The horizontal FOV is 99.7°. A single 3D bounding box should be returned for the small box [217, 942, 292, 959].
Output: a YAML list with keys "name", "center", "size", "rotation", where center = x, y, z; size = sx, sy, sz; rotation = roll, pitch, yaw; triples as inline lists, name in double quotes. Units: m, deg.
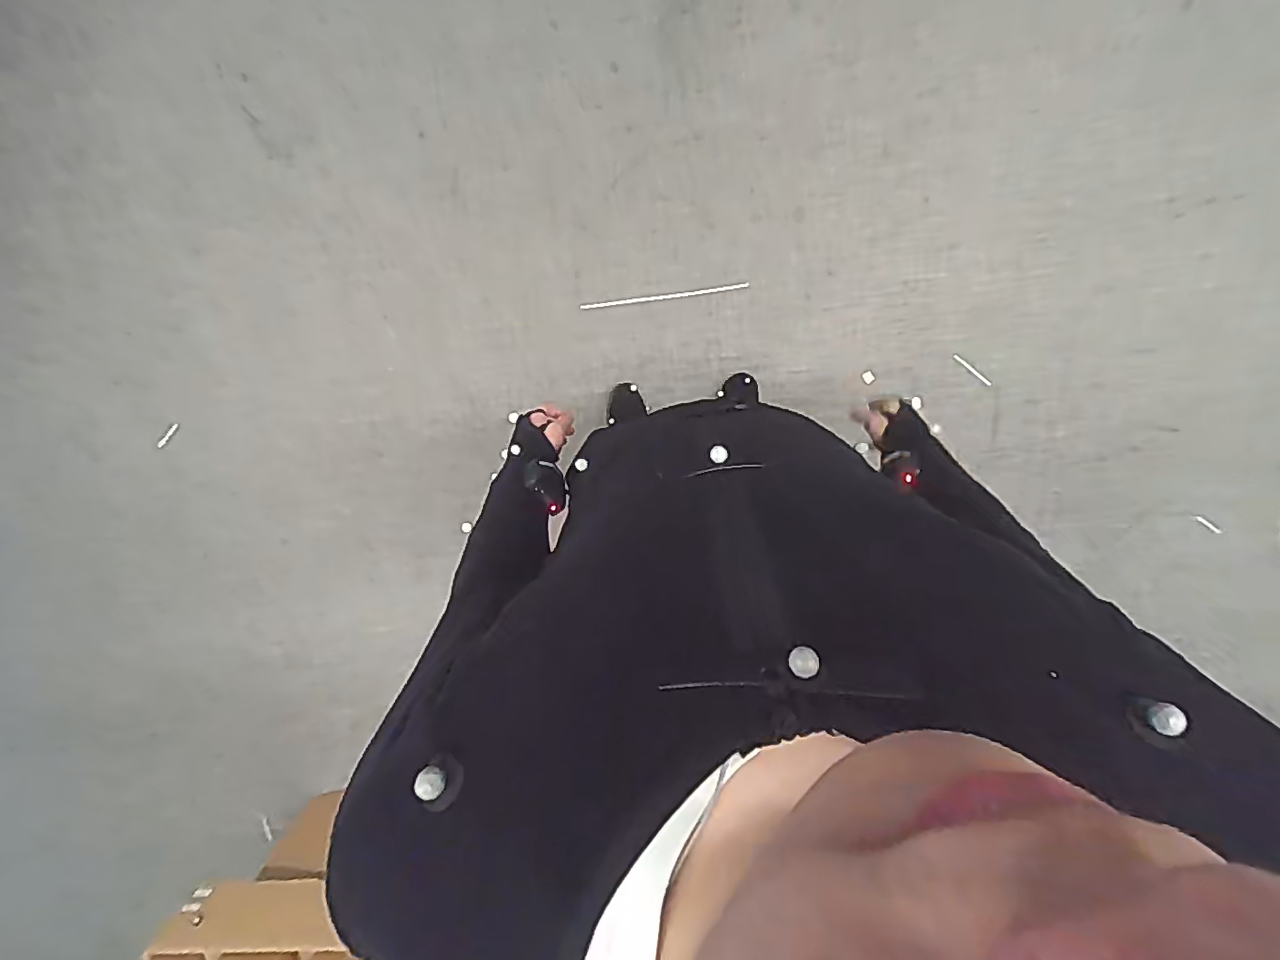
- name: "small box"
  center: [-1.040, 1.352, 1.408]
  size: [0.179, 0.176, 0.168]
  rotation: [-3, 101, 1]
